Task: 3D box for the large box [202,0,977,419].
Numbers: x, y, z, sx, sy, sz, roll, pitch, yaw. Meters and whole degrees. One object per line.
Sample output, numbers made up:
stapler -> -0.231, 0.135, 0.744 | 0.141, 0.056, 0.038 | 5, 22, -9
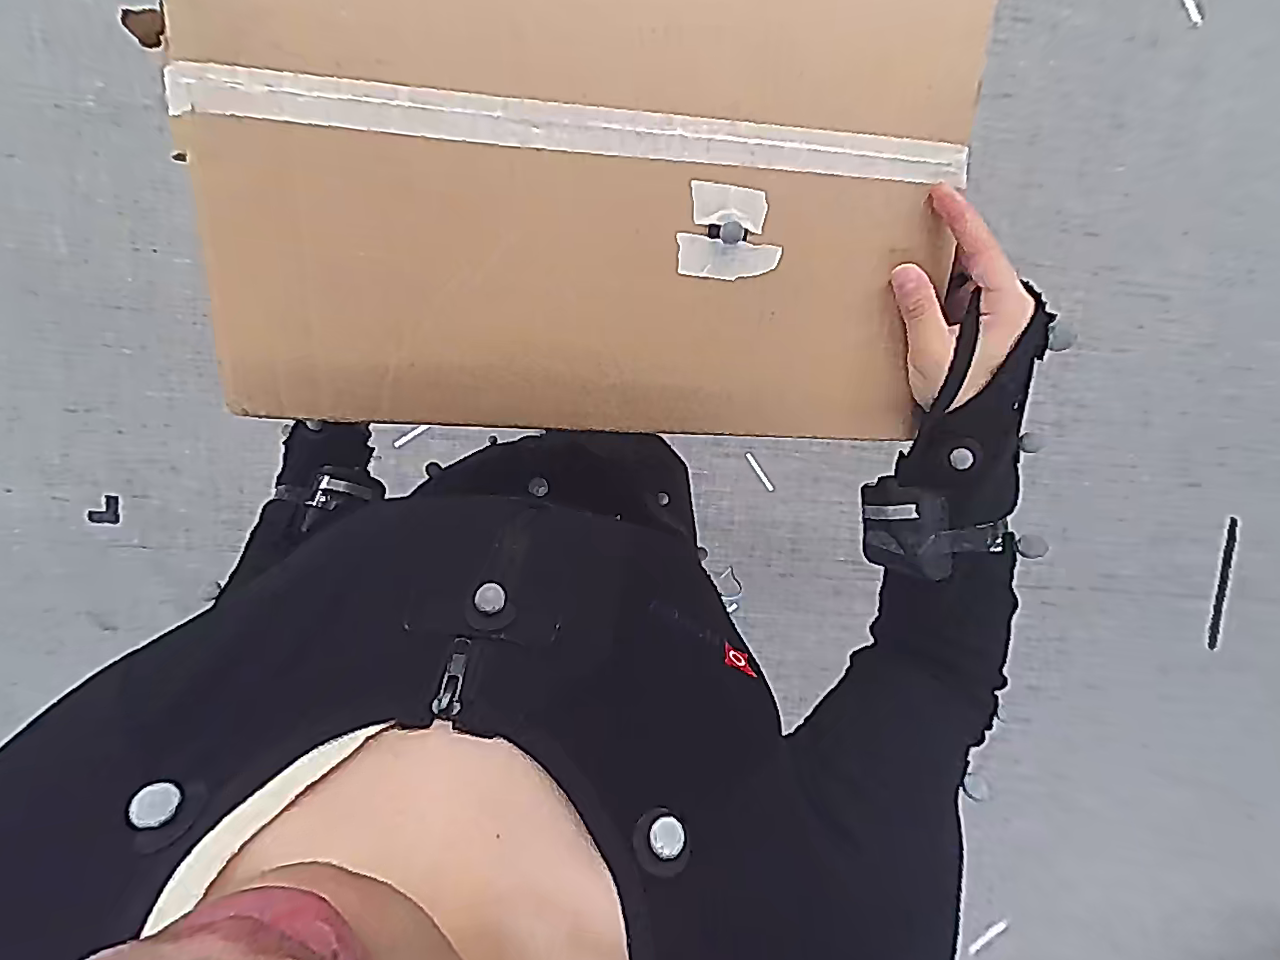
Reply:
large box -> -0.035, -0.226, 0.435 | 0.408, 0.320, 0.320 | 1, 106, -8
